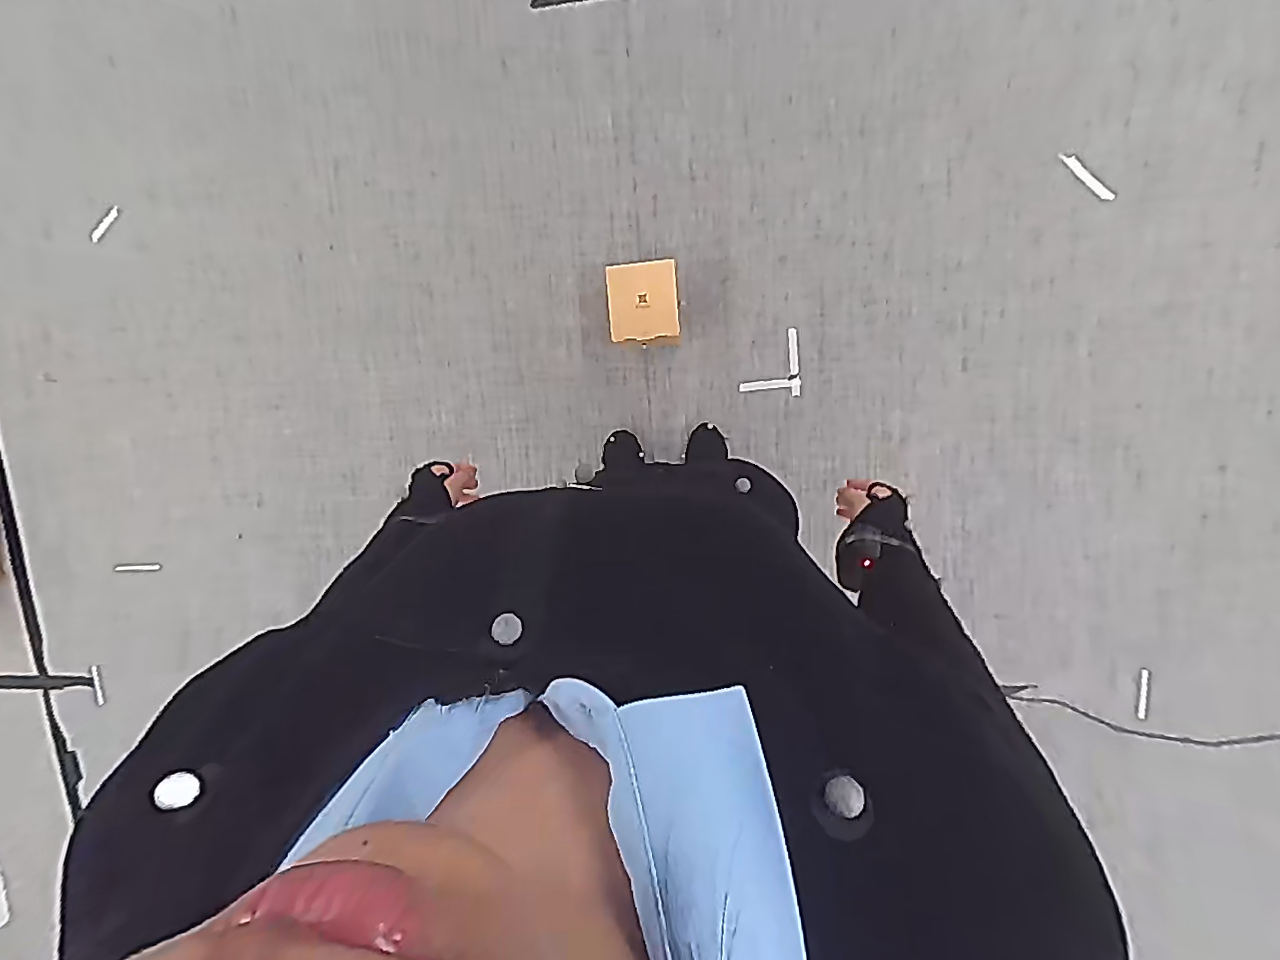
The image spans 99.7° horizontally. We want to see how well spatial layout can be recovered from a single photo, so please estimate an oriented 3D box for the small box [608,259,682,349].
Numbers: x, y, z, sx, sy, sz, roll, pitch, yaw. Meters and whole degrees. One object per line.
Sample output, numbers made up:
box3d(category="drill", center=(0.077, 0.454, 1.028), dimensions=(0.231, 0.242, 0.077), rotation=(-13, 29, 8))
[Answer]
box3d(category="small box", center=(0.017, -0.432, 1.349), dimensions=(0.168, 0.176, 0.179), rotation=(-5, 98, 6))
